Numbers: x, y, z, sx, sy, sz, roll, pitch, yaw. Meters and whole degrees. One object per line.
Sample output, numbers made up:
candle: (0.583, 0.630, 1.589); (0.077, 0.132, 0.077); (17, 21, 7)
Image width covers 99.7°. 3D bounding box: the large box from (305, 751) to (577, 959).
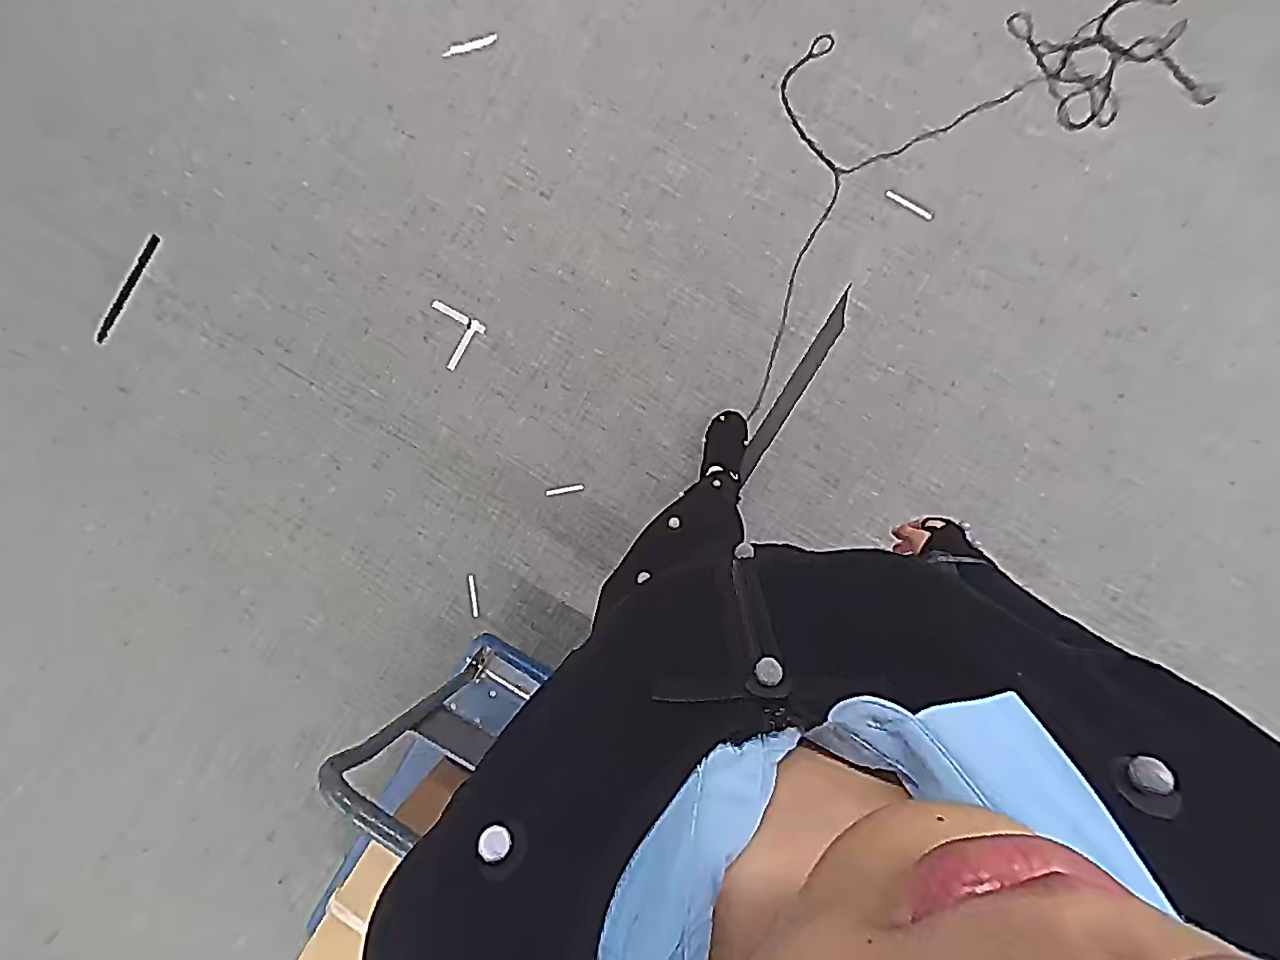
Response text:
large box: (-0.403, 0.893, 1.190); (0.408, 0.320, 0.320); (32, 91, 4)
